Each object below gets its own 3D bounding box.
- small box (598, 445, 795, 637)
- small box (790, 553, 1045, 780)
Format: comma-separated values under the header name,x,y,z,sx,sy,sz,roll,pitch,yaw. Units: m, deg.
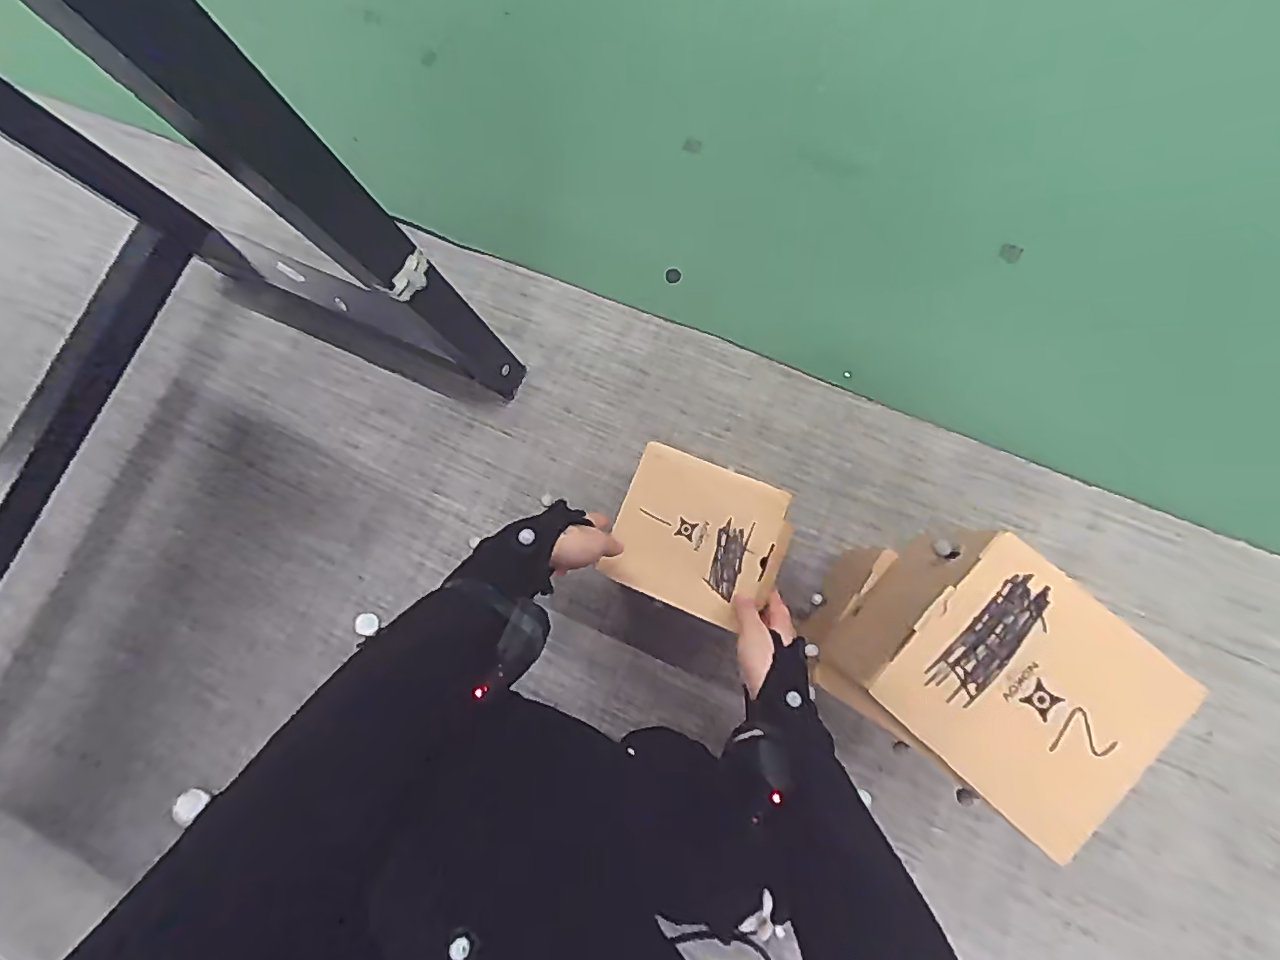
name,x,y,z,sx,sy,sz,roll,pitch,yaw
small box,0.071,0.075,0.677,0.179,0.176,0.168,22,84,10
small box,0.301,0.197,0.630,0.179,0.176,0.168,33,86,10
